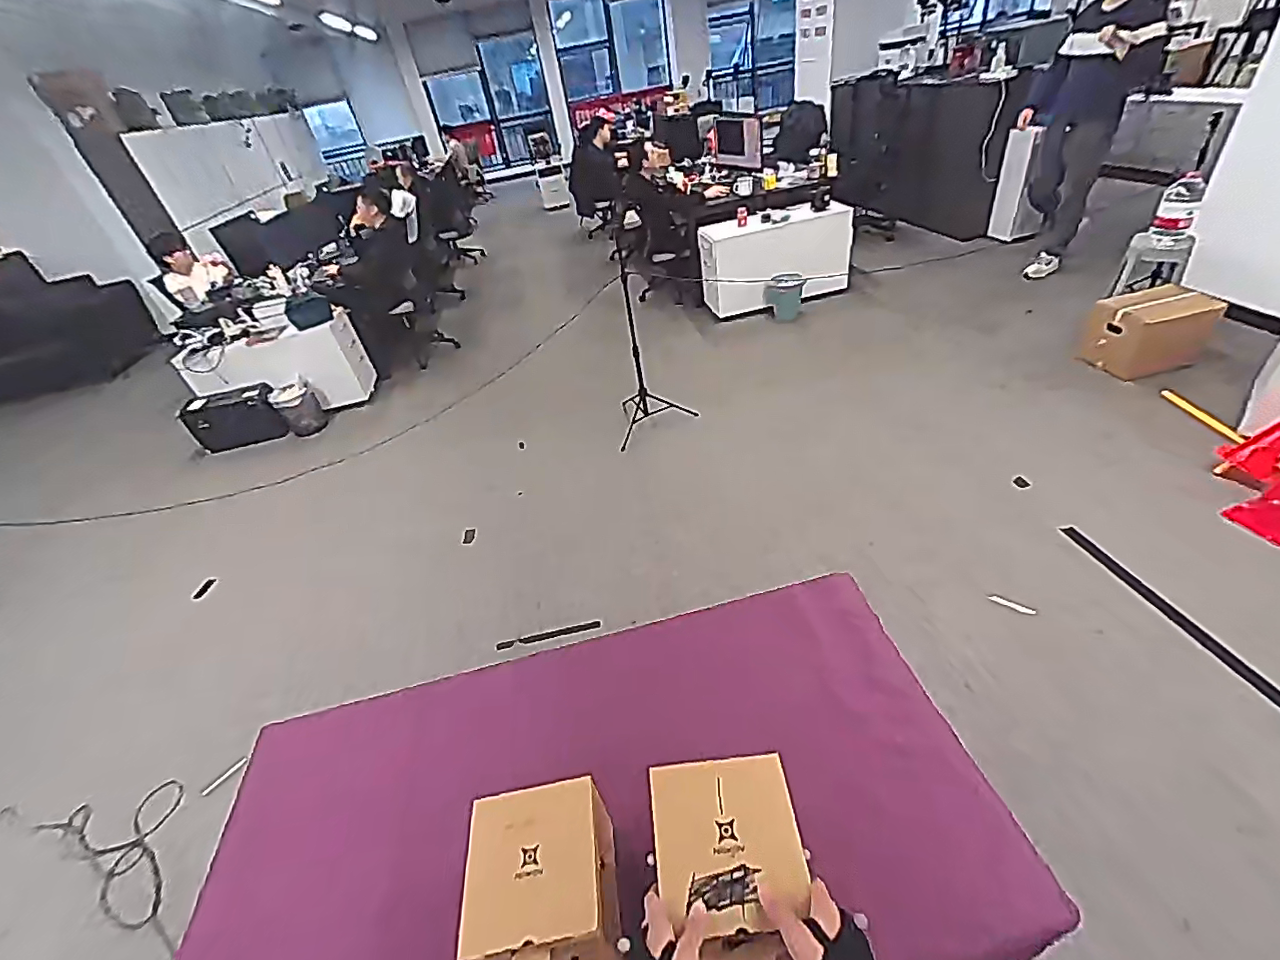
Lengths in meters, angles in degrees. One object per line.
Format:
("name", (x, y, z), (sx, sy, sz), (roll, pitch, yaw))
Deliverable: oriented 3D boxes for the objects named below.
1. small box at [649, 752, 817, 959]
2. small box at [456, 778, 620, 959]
("small box", (0.104, 0.463, 0.659), (0.168, 0.176, 0.179), (-7, 39, 1))
("small box", (-0.125, 0.535, 0.719), (0.168, 0.176, 0.179), (-11, 37, 0))
